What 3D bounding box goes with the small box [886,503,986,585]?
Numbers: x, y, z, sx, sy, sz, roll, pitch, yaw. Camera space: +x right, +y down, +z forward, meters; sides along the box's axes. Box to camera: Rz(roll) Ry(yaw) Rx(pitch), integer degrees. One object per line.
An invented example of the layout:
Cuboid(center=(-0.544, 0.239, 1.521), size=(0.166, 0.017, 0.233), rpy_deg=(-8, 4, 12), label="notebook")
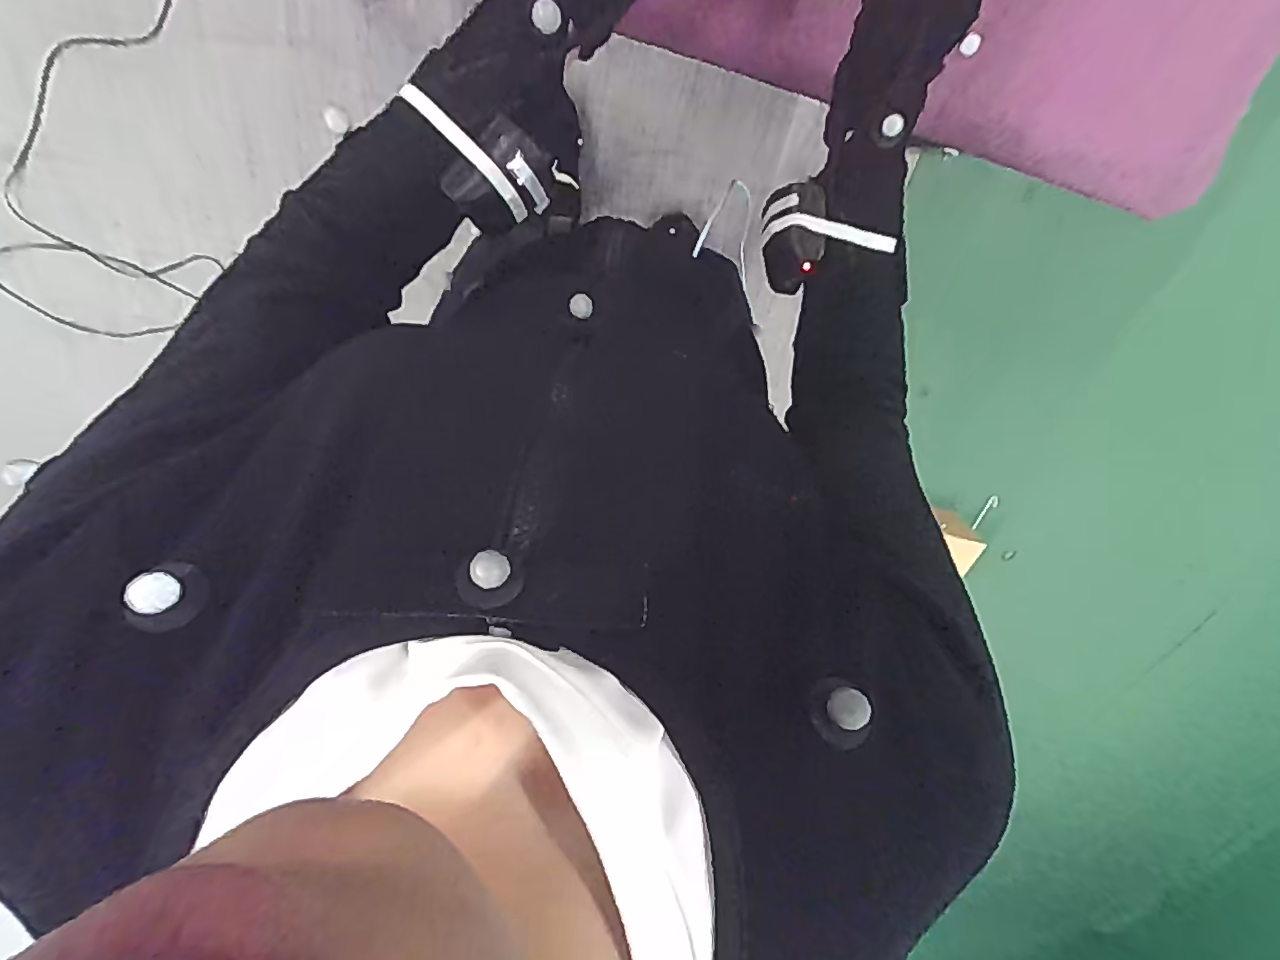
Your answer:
Cuboid(center=(0.894, 0.190, 1.652), size=(0.179, 0.176, 0.168), rpy_deg=(13, 121, -8), label="small box")
